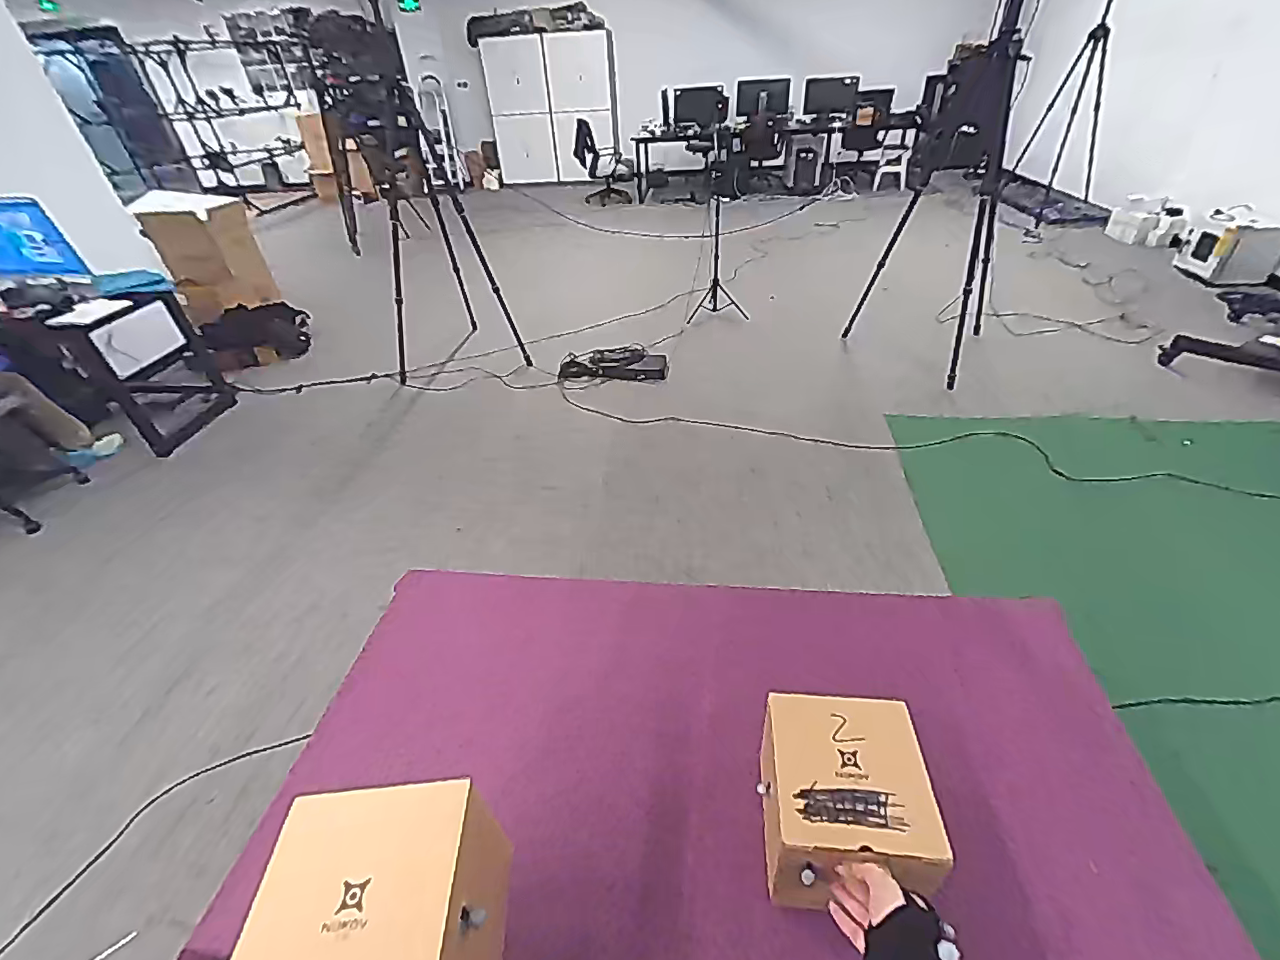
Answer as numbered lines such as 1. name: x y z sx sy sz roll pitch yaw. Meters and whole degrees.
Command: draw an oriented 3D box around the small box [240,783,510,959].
1. small box: -0.224 0.410 0.496 0.168 0.176 0.179 -6 39 1
